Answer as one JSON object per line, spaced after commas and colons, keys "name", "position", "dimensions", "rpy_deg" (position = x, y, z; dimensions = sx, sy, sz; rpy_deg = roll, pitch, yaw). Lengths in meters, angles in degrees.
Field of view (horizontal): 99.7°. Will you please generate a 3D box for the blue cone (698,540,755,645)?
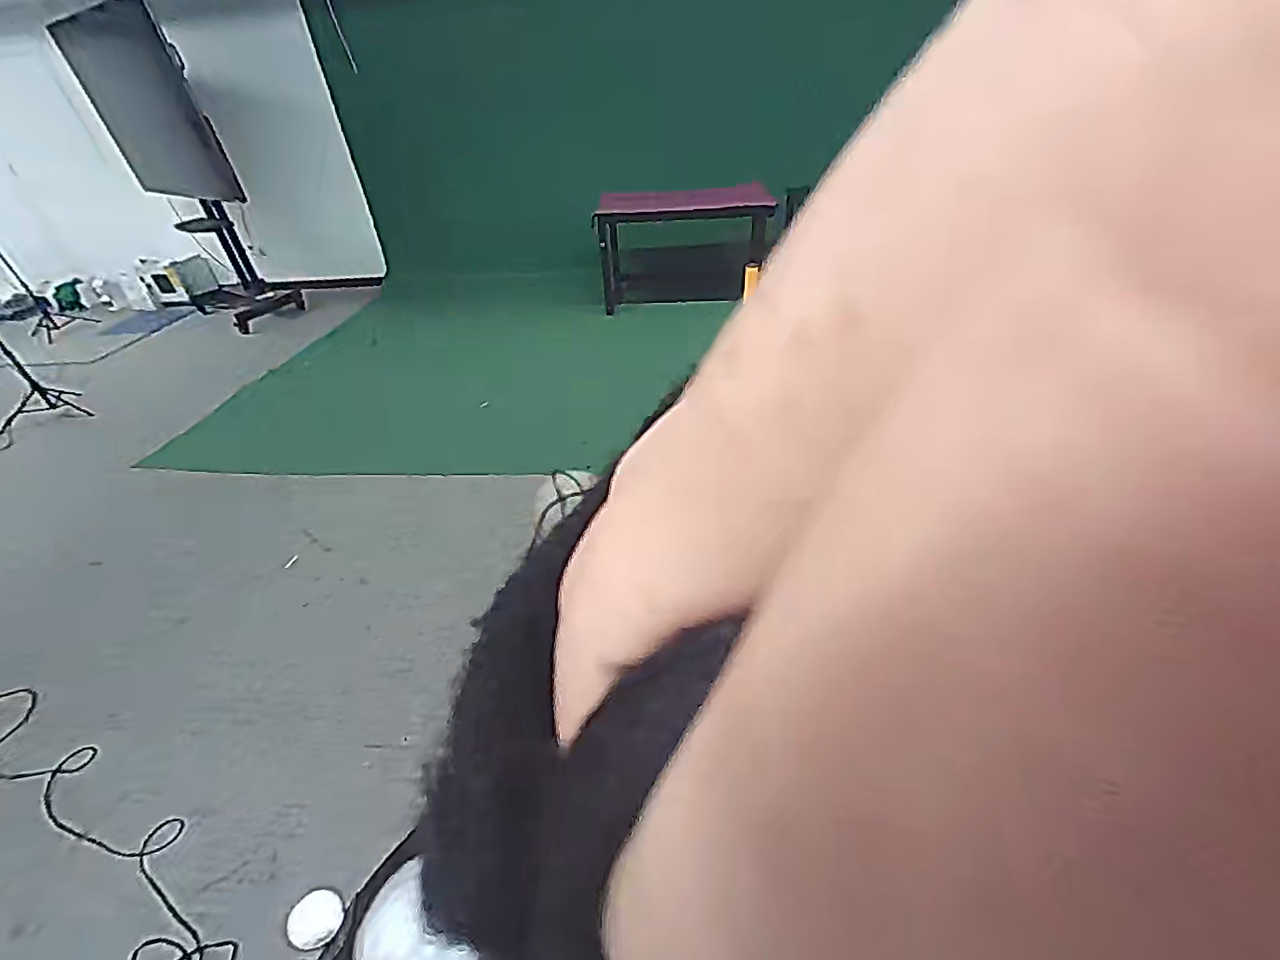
{"name": "blue cone", "position": [0.291, 0.354, 1.775], "dimensions": [0.193, 0.380, 0.192], "rpy_deg": [7, 38, 14]}
